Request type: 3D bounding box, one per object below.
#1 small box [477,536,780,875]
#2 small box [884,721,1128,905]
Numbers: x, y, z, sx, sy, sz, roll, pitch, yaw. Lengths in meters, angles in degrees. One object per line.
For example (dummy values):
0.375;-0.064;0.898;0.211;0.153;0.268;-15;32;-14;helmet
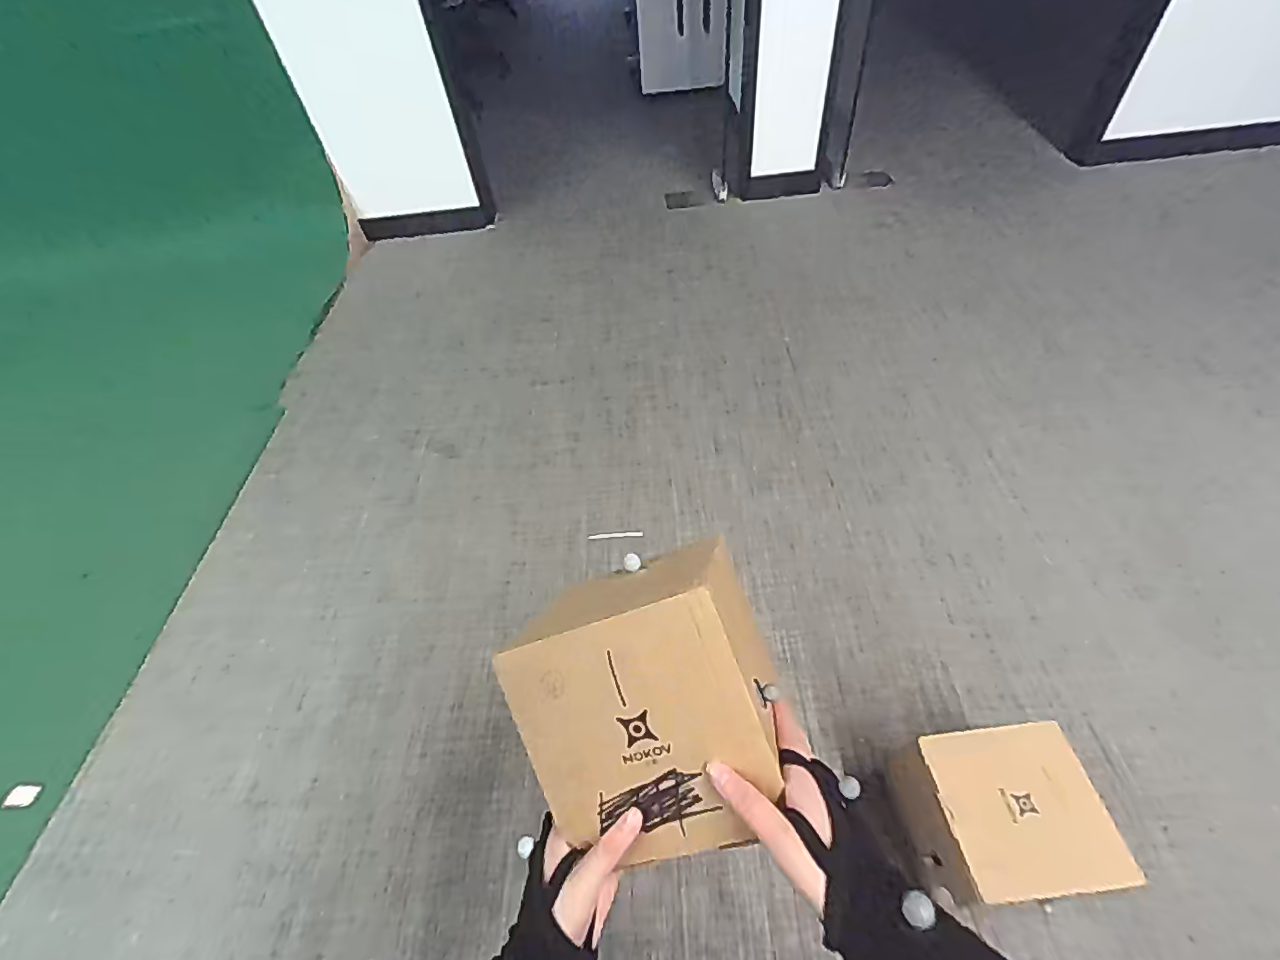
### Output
0.006;0.165;0.441;0.168;0.176;0.179;-21;92;13;small box
0.428;0.421;0.678;0.179;0.176;0.168;-7;51;1;small box
